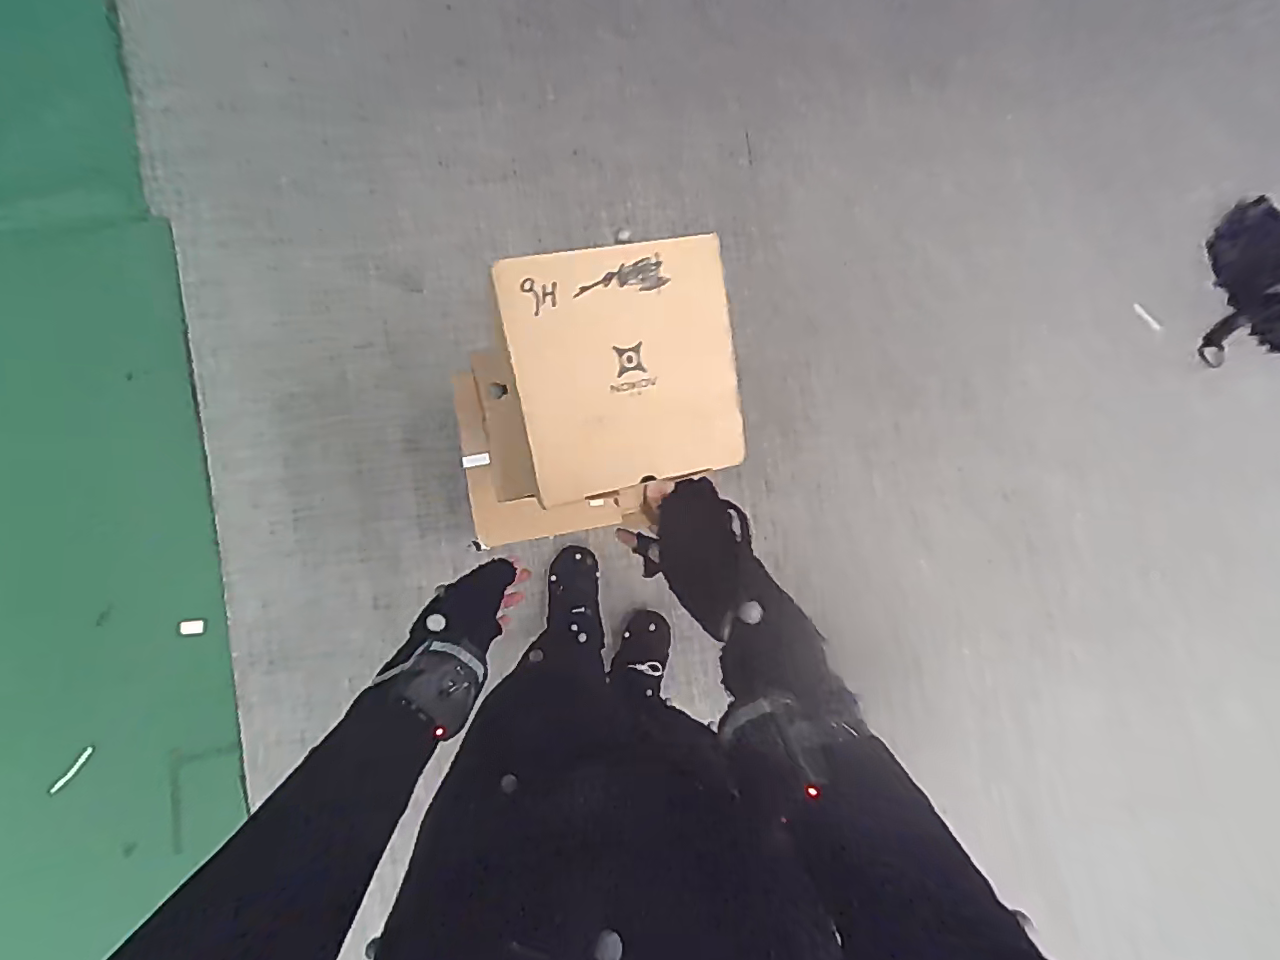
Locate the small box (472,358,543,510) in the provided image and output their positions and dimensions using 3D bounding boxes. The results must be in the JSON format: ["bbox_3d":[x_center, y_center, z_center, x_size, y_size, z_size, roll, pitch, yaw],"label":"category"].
[{"bbox_3d":[-0.107,-0.067,0.710,0.168,0.176,0.179,-12,93,-6],"label":"small box"}]

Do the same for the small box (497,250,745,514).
[{"bbox_3d":[-0.025,-0.088,0.473,0.168,0.176,0.179,-12,105,-15],"label":"small box"}]
